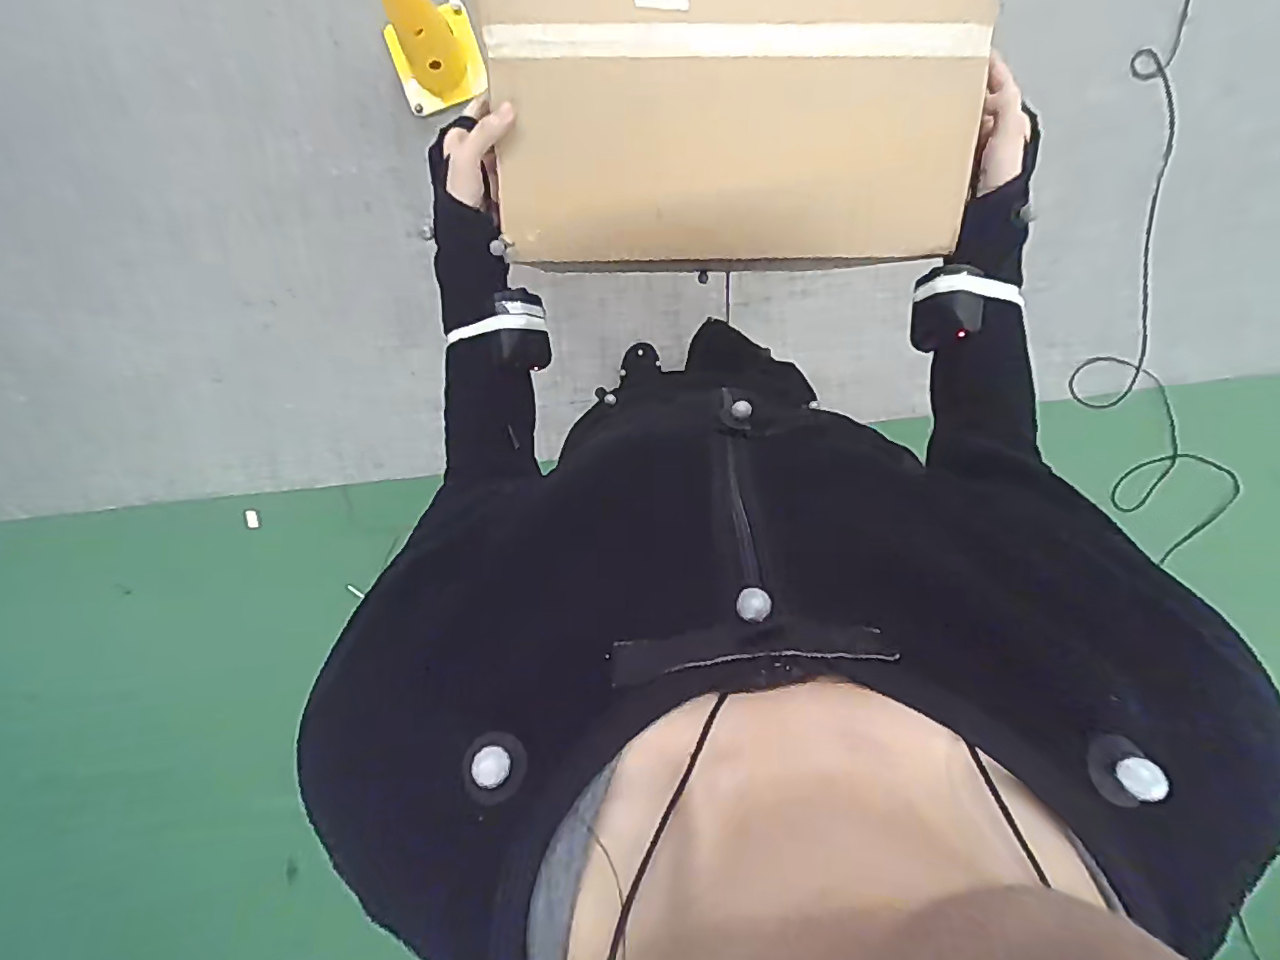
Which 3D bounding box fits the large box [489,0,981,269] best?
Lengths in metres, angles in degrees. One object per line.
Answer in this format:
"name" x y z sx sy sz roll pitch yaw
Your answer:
"large box" 0.075 -0.404 0.584 0.408 0.320 0.320 -2 108 -1
